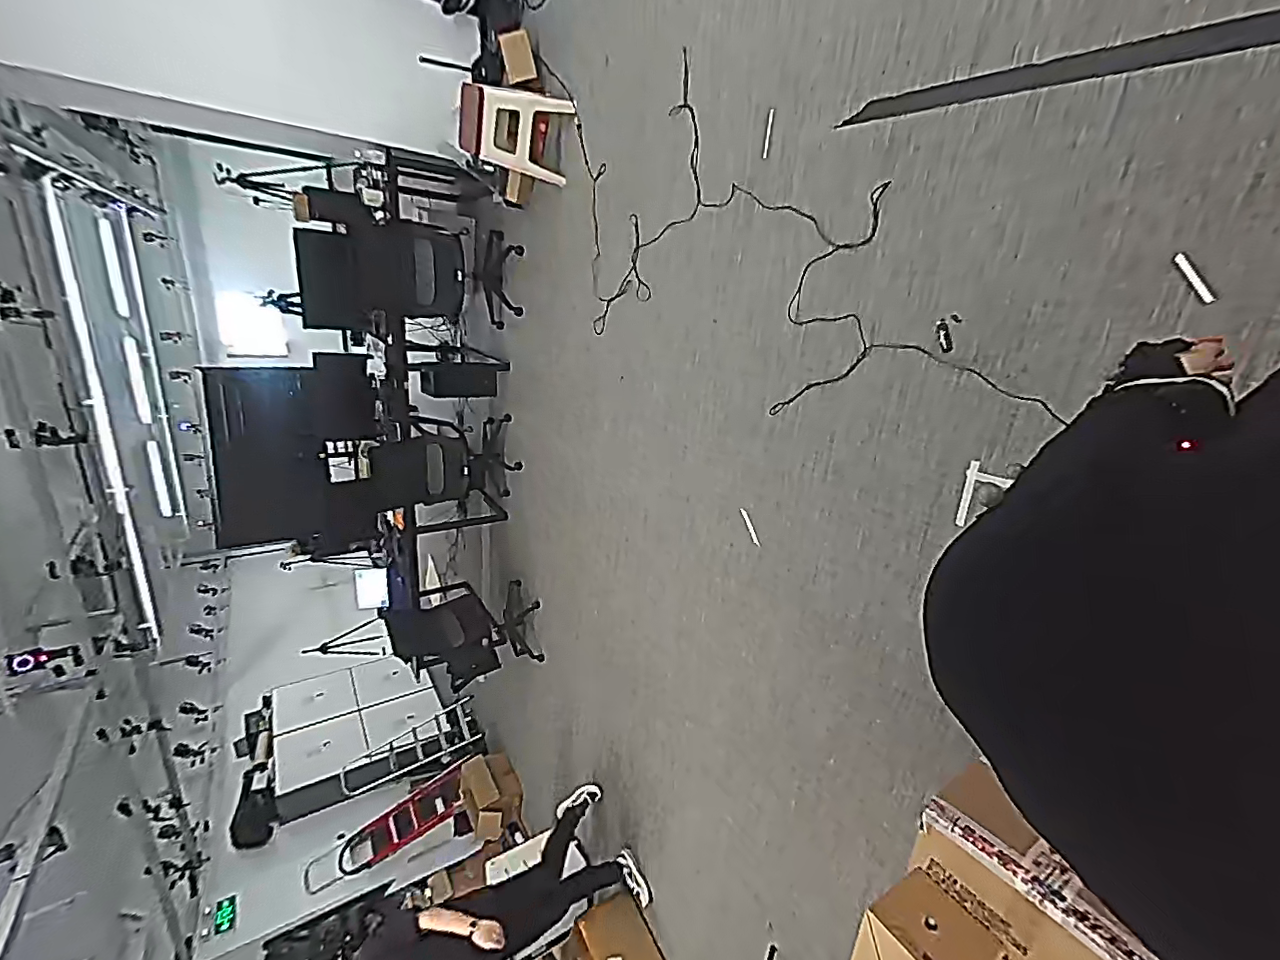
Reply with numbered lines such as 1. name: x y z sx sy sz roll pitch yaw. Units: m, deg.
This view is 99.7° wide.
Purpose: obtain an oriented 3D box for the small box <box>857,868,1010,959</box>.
1. small box: 0.515 0.862 0.967 0.168 0.176 0.179 29 118 54
